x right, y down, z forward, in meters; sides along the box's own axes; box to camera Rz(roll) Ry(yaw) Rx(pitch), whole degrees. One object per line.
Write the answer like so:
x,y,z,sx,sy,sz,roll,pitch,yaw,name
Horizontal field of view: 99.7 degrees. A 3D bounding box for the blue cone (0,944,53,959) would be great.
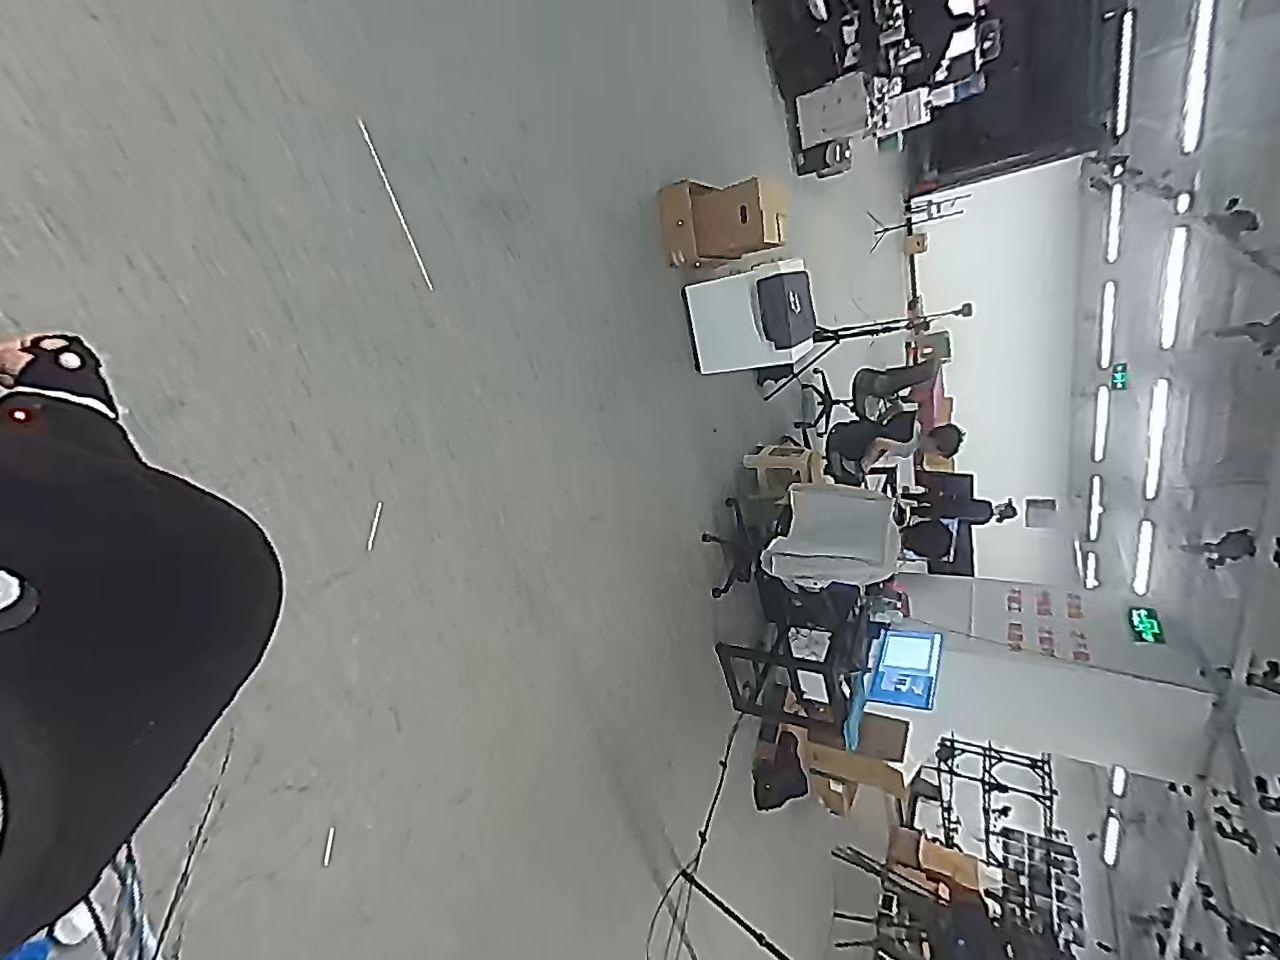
-1.060,0.953,0.872,0.193,0.380,0.192,33,63,-53,blue cone
